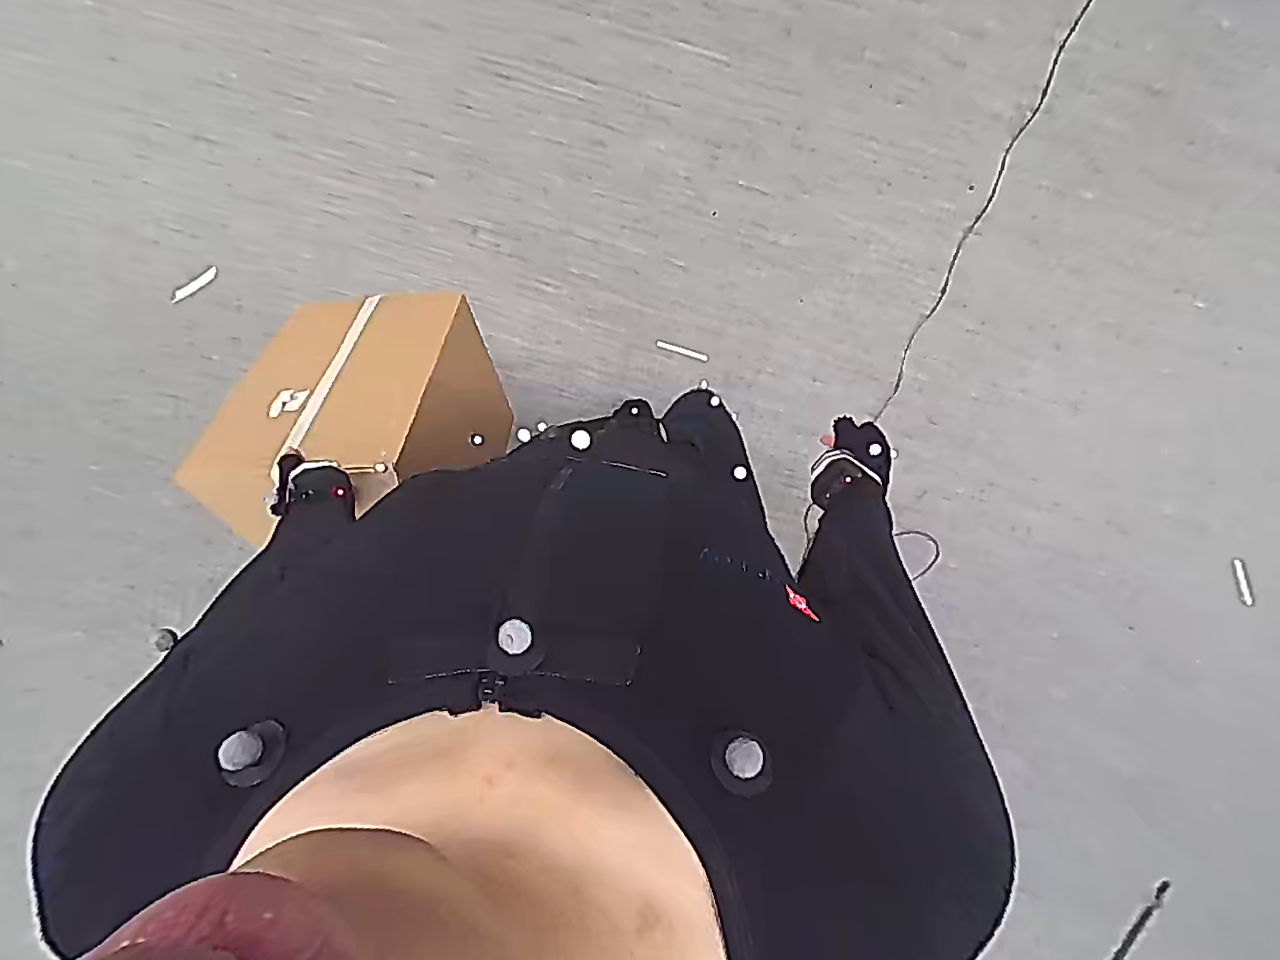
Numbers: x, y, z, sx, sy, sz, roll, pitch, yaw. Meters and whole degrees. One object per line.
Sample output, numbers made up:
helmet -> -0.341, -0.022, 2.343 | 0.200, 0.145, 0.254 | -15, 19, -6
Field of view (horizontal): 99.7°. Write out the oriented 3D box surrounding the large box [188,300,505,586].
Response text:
large box -> -0.453, -0.063, 0.960 | 0.320, 0.408, 0.320 | -4, 142, 6
